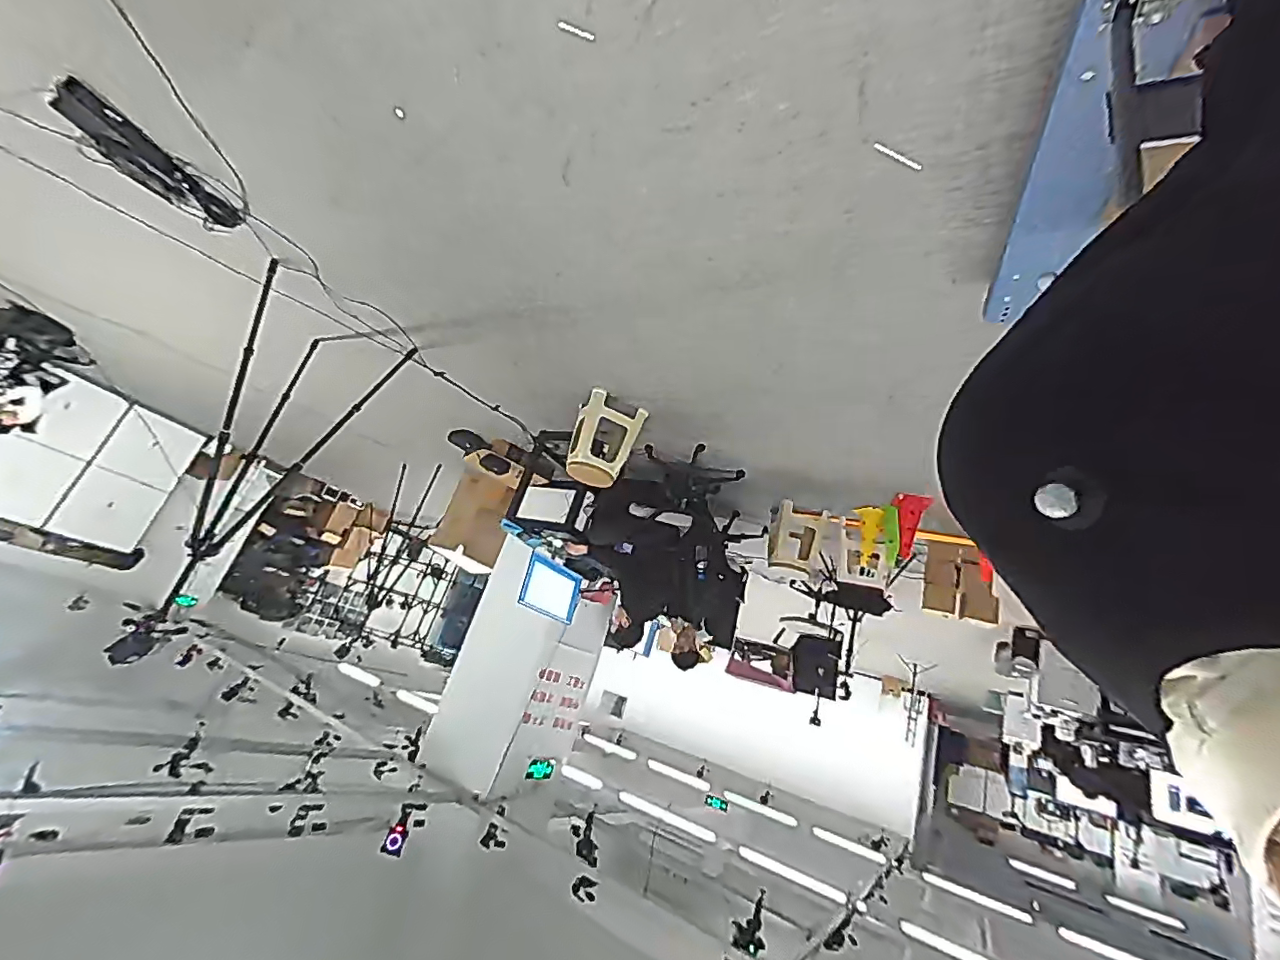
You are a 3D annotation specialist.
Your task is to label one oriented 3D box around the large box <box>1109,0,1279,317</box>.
[{"bbox_3d":[1.083,-0.540,0.934,0.320,0.320,0.408,9,159,24],"label":"large box"}]
